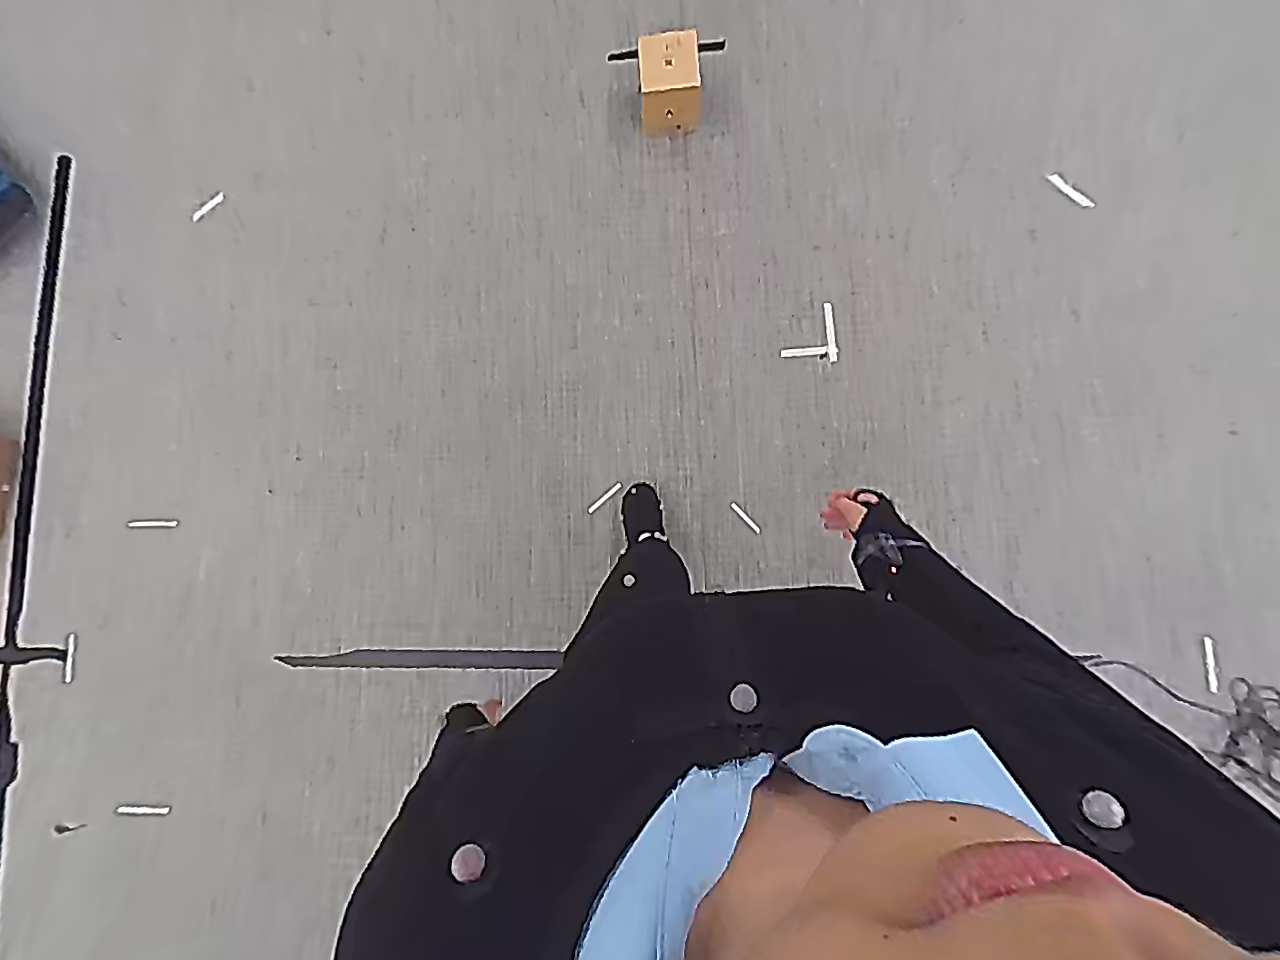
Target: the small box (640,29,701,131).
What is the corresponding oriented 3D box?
[{"bbox_3d":[0.090,-1.147,1.569,0.168,0.176,0.179,-4,83,3],"label":"small box"}]
